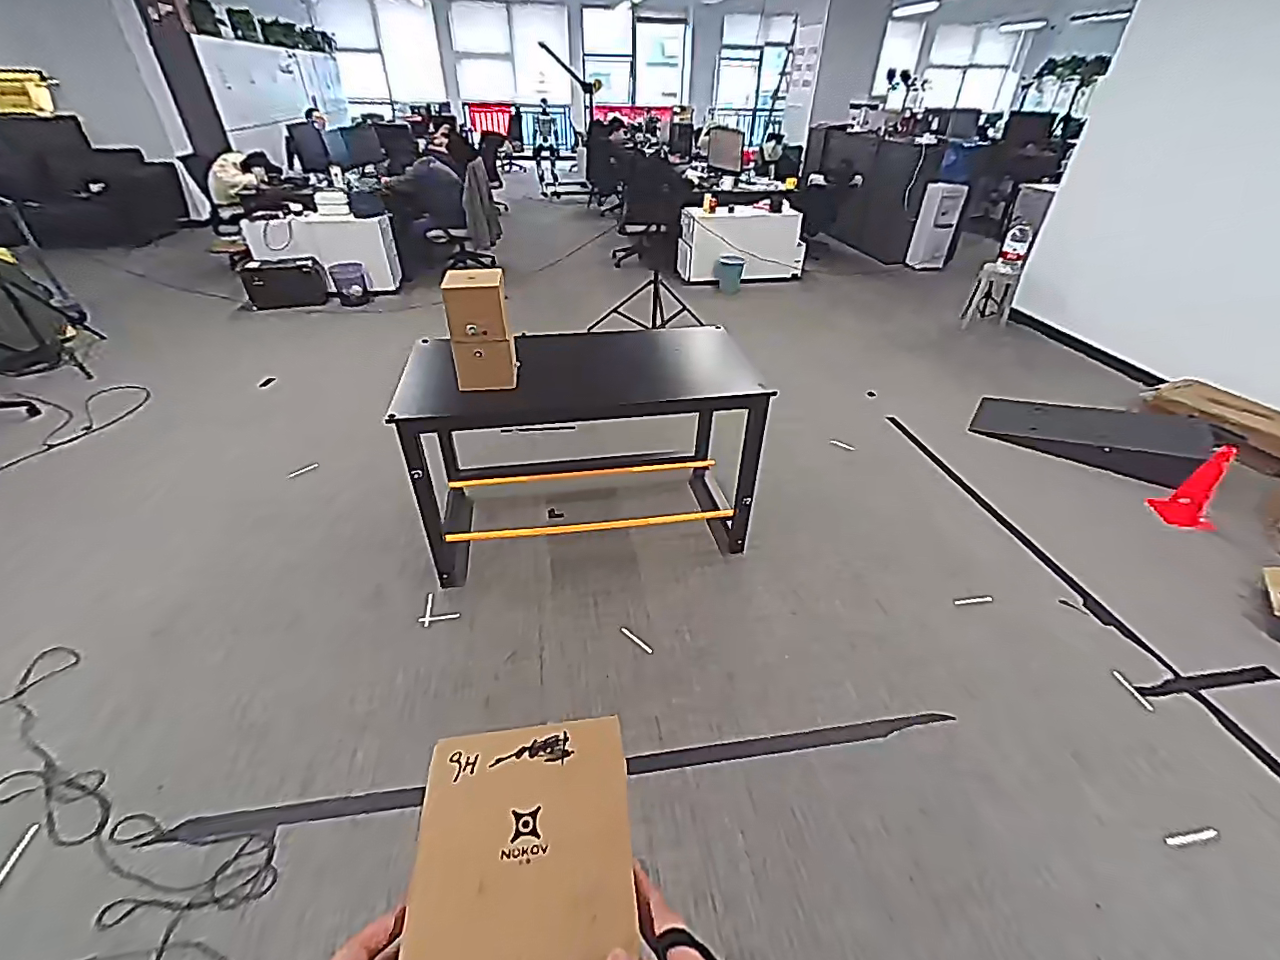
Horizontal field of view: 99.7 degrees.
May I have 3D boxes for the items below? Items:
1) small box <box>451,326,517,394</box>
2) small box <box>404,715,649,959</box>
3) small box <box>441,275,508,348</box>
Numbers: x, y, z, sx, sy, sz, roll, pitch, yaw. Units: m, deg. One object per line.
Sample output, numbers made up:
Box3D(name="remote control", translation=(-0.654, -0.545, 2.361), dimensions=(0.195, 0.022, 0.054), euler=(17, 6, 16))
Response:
Box3D(name="small box", translation=(-0.501, -0.389, 1.757), dimensions=(0.179, 0.176, 0.168), euler=(-4, 36, -8))
Box3D(name="small box", translation=(-0.085, 0.337, 0.473), dimensions=(0.168, 0.176, 0.179), euler=(-6, 41, -5))
Box3D(name="small box", translation=(-0.501, -0.519, 1.660), dimensions=(0.168, 0.176, 0.179), euler=(-6, 38, -8))
